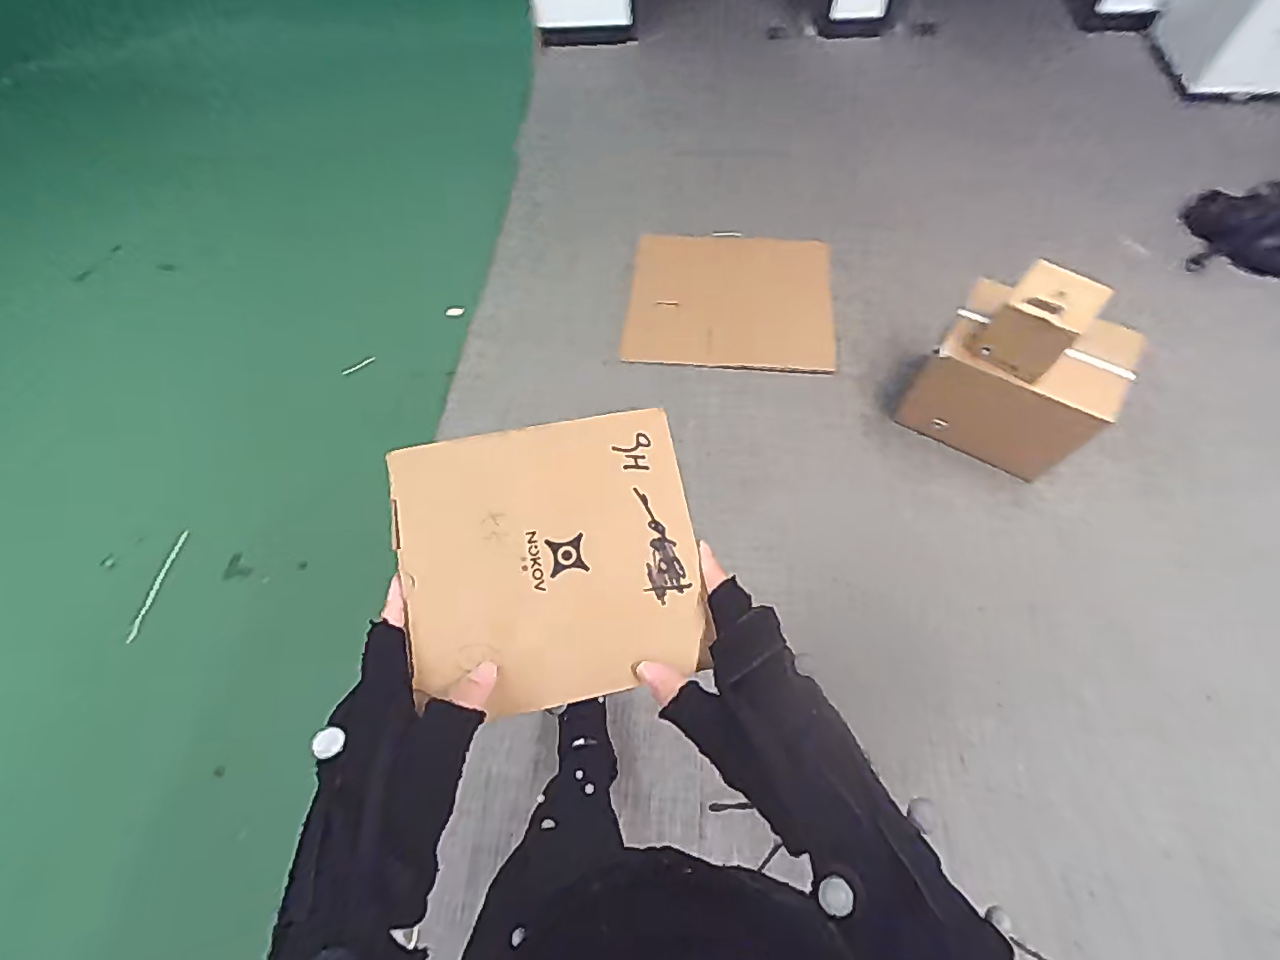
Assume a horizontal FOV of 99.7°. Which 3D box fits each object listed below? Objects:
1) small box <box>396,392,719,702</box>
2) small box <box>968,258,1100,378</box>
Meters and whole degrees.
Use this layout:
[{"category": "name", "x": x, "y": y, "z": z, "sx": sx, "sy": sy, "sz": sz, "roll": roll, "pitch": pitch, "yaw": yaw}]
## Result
[{"category": "small box", "x": -0.059, "y": 0.057, "z": 0.409, "sx": 0.179, "sy": 0.176, "sz": 0.168, "roll": -12, "pitch": 75, "yaw": -9}, {"category": "small box", "x": 0.907, "y": -0.373, "z": 1.265, "sx": 0.168, "sy": 0.176, "sz": 0.179, "roll": 36, "pitch": 70, "yaw": 20}]
